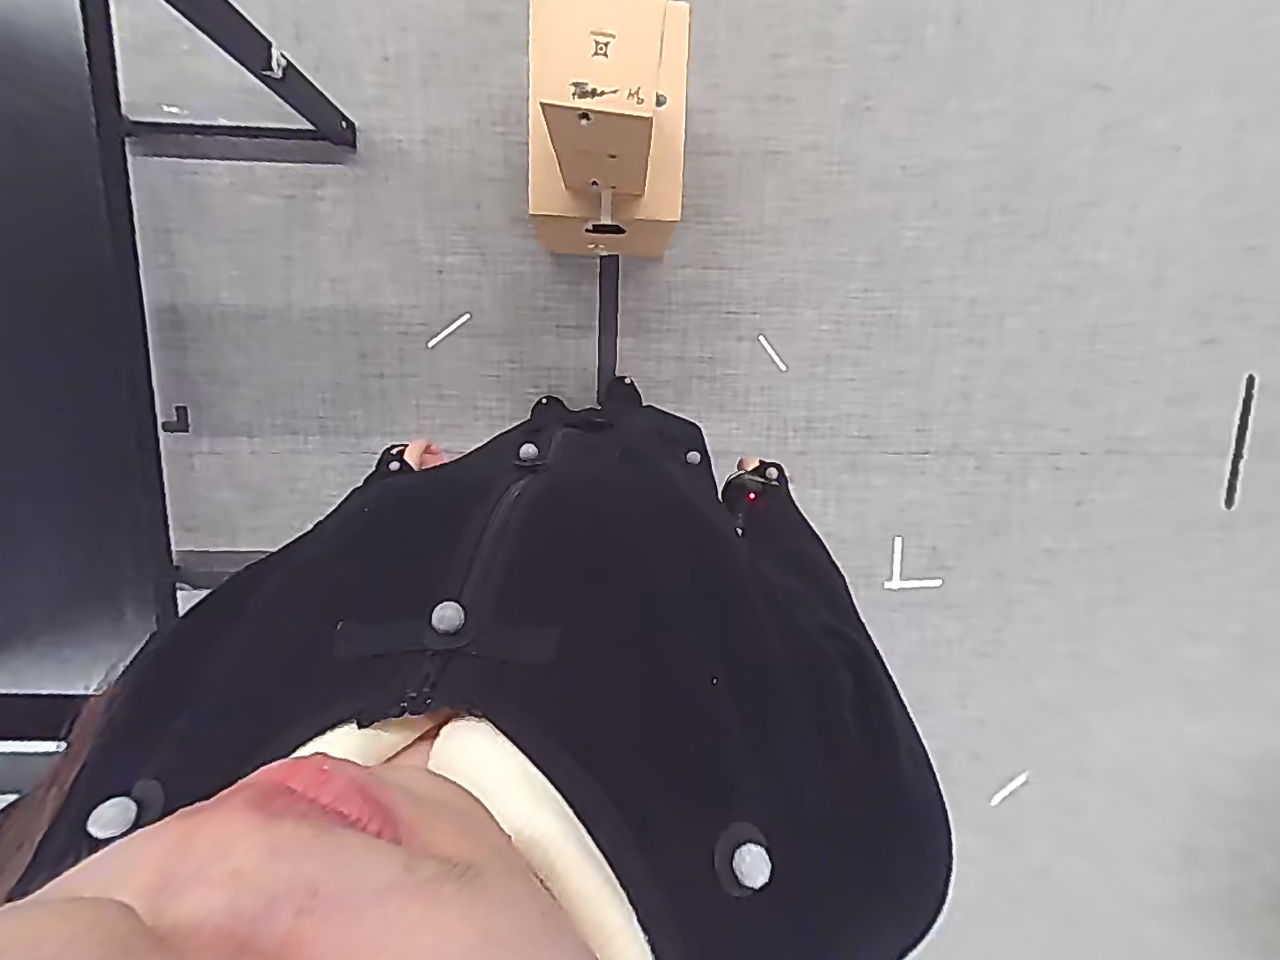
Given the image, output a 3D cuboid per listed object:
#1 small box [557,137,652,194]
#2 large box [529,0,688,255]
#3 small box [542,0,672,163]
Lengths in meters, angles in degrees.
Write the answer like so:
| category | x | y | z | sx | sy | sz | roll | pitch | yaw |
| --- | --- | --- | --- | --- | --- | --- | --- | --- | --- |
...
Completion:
| category | x | y | z | sx | sy | sz | roll | pitch | yaw |
| --- | --- | --- | --- | --- | --- | --- | --- | --- | --- |
| small box | -0.055 | -0.652 | 0.984 | 0.168 | 0.176 | 0.179 | 5 | 100 | -3 |
| large box | -0.068 | -0.753 | 1.214 | 0.320 | 0.320 | 0.408 | 1 | 99 | -4 |
| small box | -0.048 | -0.621 | 0.823 | 0.168 | 0.176 | 0.179 | 7 | 98 | -2 |
